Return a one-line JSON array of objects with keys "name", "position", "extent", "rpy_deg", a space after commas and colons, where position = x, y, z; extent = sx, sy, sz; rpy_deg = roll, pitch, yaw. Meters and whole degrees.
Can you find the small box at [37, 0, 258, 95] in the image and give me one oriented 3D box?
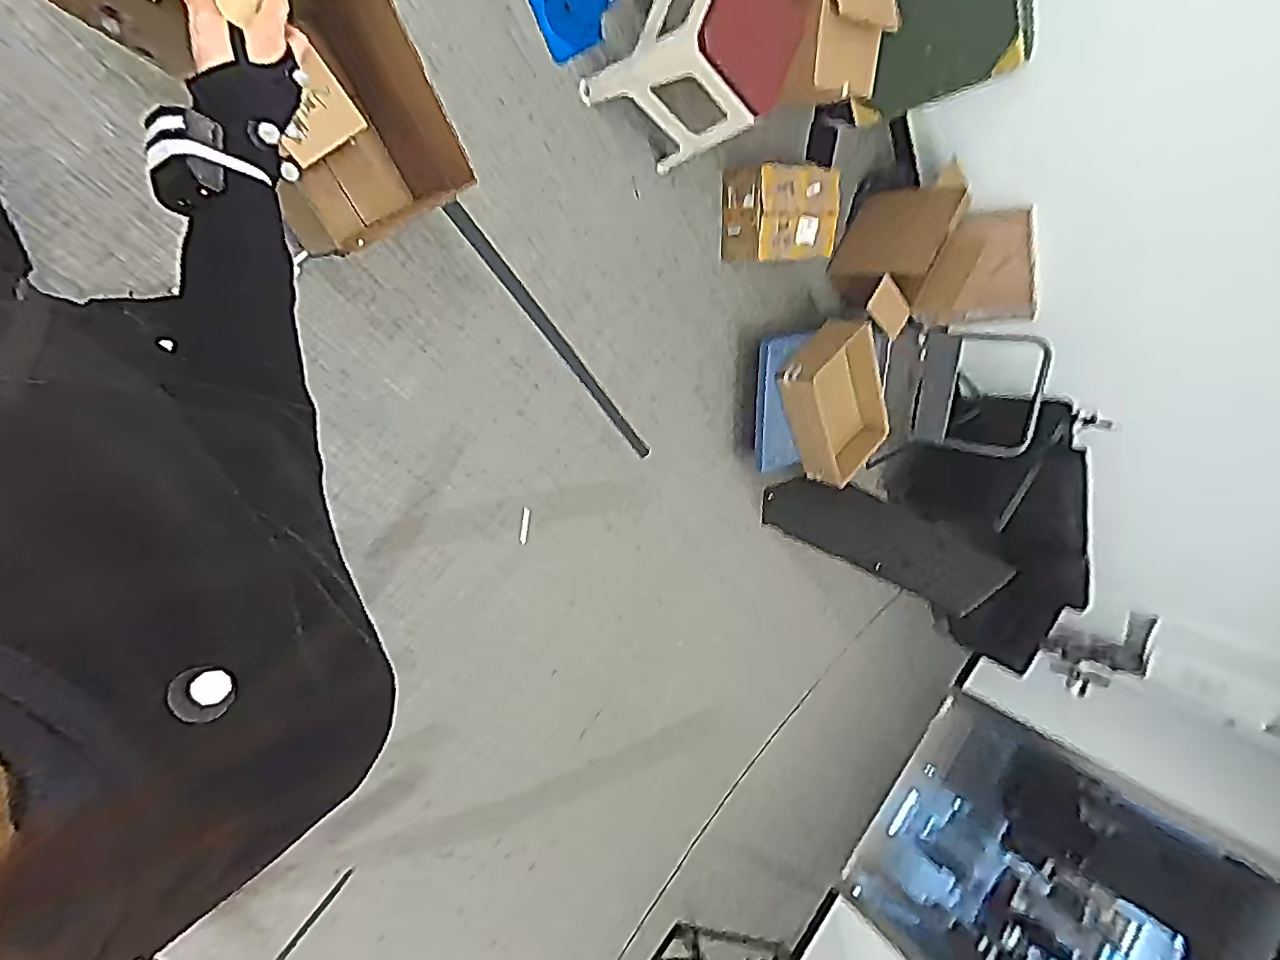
[{"name": "small box", "position": [-0.438, -0.498, 0.477], "extent": [0.168, 0.176, 0.179], "rpy_deg": [18, 85, -46]}]
